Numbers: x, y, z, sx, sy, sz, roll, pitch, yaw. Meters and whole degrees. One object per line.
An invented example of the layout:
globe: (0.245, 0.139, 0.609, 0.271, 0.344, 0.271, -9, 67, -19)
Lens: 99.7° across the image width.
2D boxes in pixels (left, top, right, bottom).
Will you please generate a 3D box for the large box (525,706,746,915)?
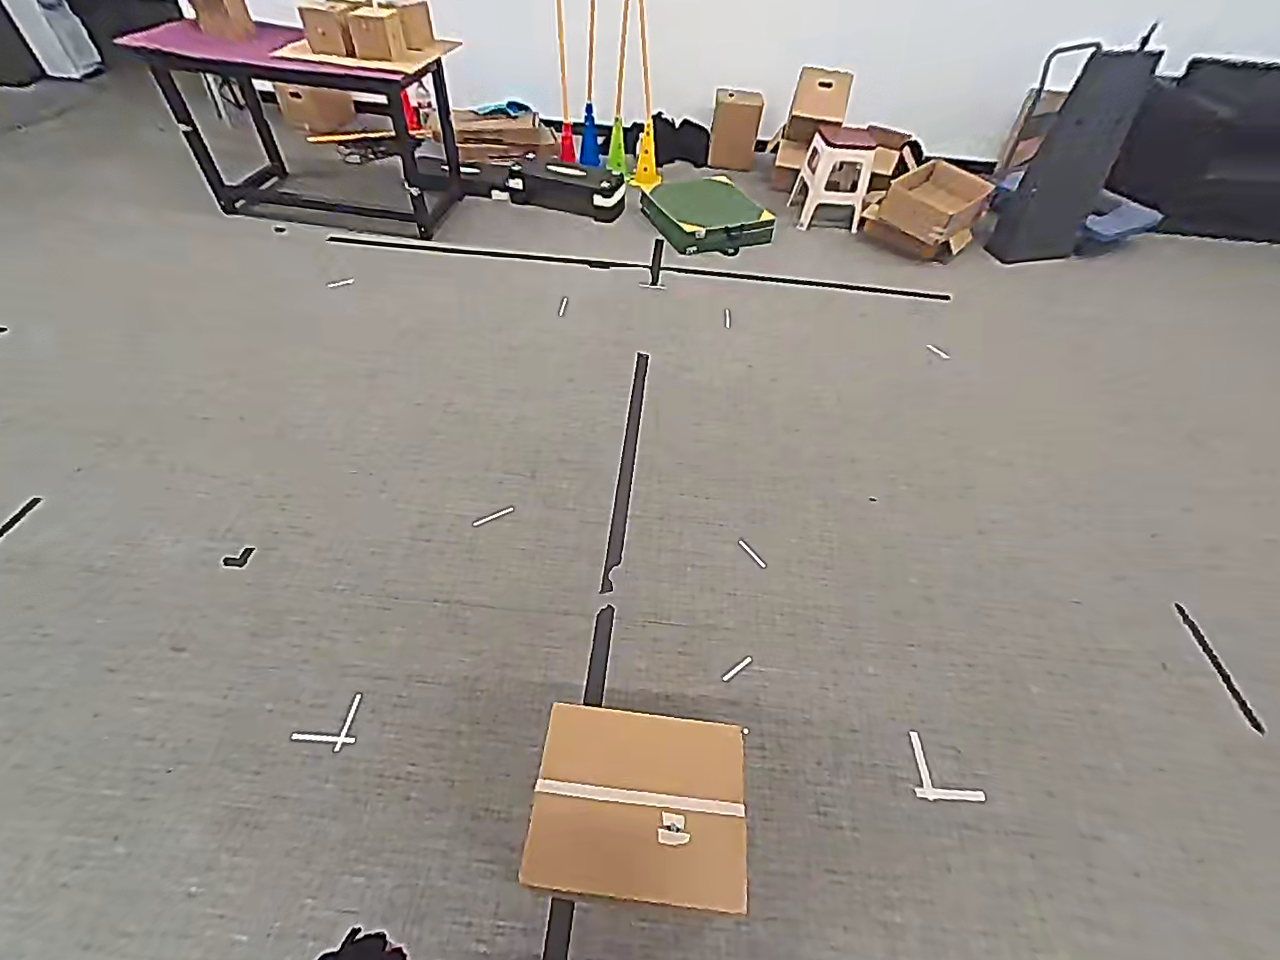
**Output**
large box: (-0.008, 0.714, 1.162, 0.408, 0.320, 0.320, 8, 51, 0)
